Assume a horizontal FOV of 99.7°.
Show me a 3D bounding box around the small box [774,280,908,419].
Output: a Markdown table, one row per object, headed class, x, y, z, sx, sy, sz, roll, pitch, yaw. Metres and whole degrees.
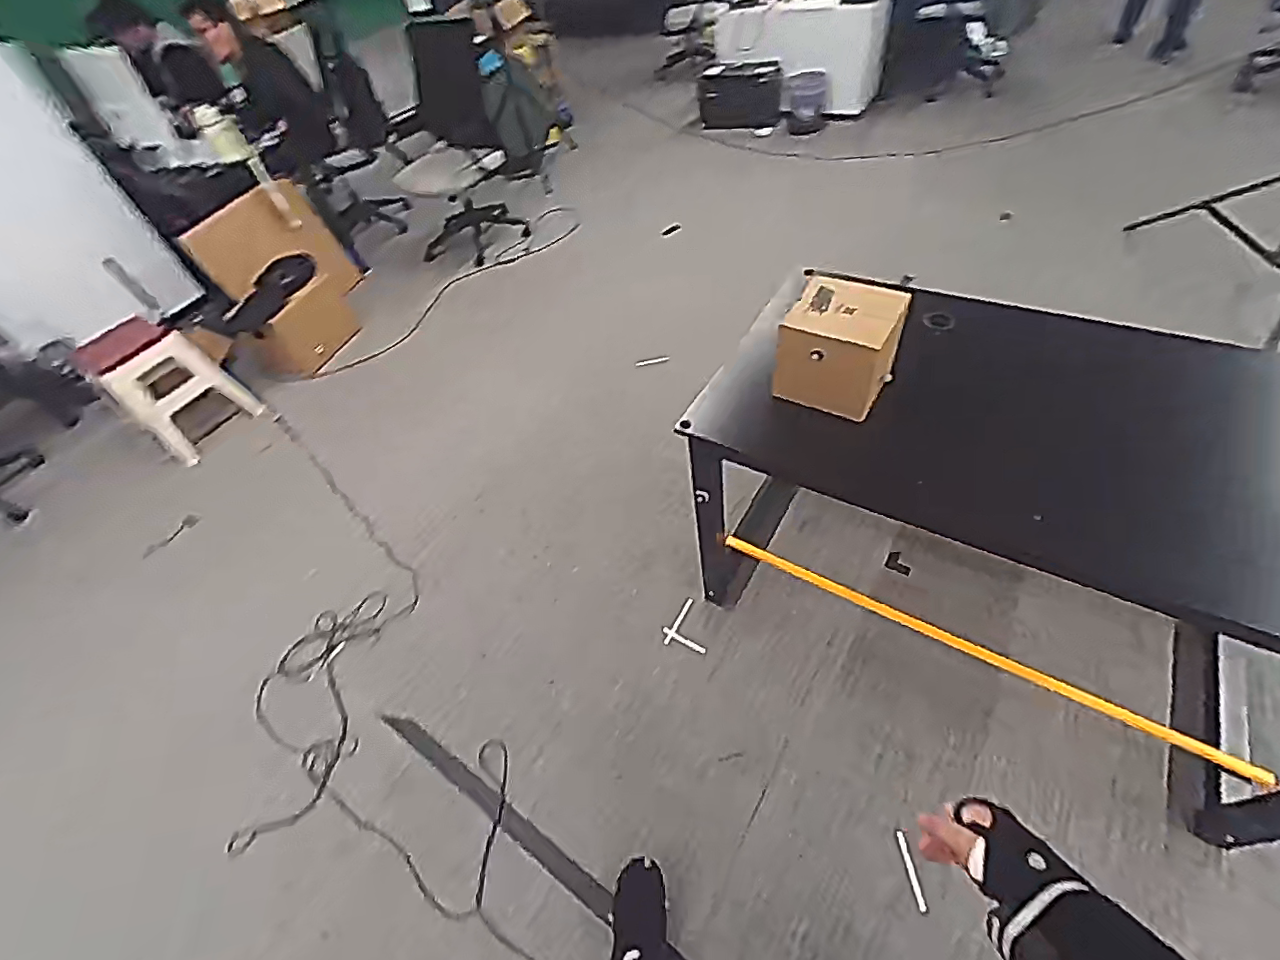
| class | x | y | z | sx | sy | sz | roll | pitch | yaw |
| --- | --- | --- | --- | --- | --- | --- | --- | --- | --- |
| small box | 0.362 | -0.239 | 1.000 | 0.179 | 0.176 | 0.168 | 23 | 59 | 25 |
